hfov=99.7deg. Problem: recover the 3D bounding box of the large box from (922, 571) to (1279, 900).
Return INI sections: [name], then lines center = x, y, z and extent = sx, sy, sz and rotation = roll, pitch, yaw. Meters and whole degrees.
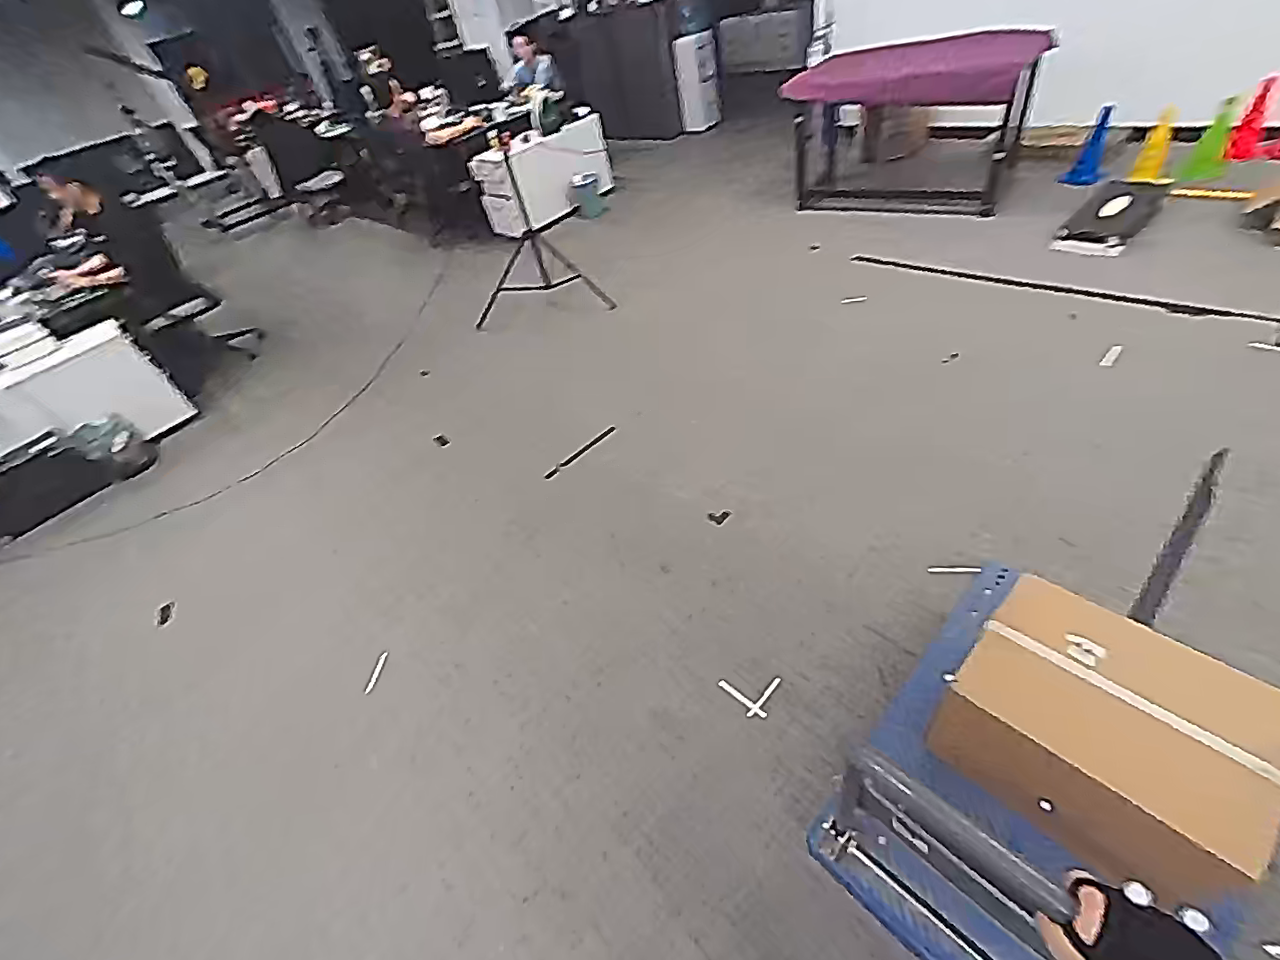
[large box]
center = 0.806, 0.447, 0.991
extent = 0.320, 0.320, 0.408
rotation = -40, 47, -24
